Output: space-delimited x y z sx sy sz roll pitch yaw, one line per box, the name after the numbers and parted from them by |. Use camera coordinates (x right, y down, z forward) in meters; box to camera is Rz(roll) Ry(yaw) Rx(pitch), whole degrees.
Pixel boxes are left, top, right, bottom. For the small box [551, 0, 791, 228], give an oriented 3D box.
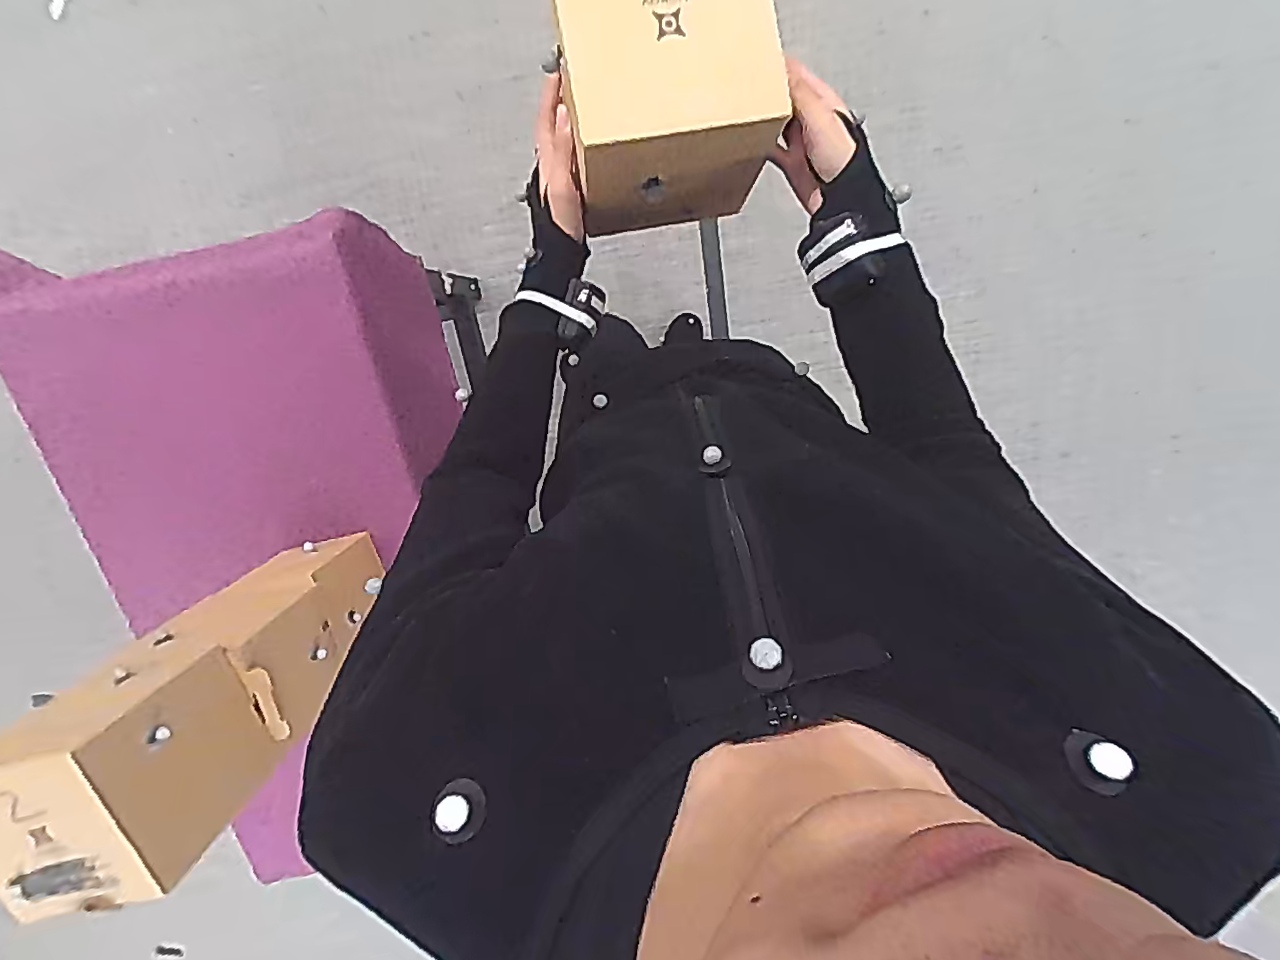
0.017 -0.348 0.484 0.168 0.176 0.179 -11 91 -3 | small box

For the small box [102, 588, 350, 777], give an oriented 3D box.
-0.536 0.262 0.728 0.179 0.176 0.168 -8 107 4 | small box

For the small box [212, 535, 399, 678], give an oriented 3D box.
-0.528 0.213 0.884 0.168 0.176 0.179 -13 106 5 | small box
